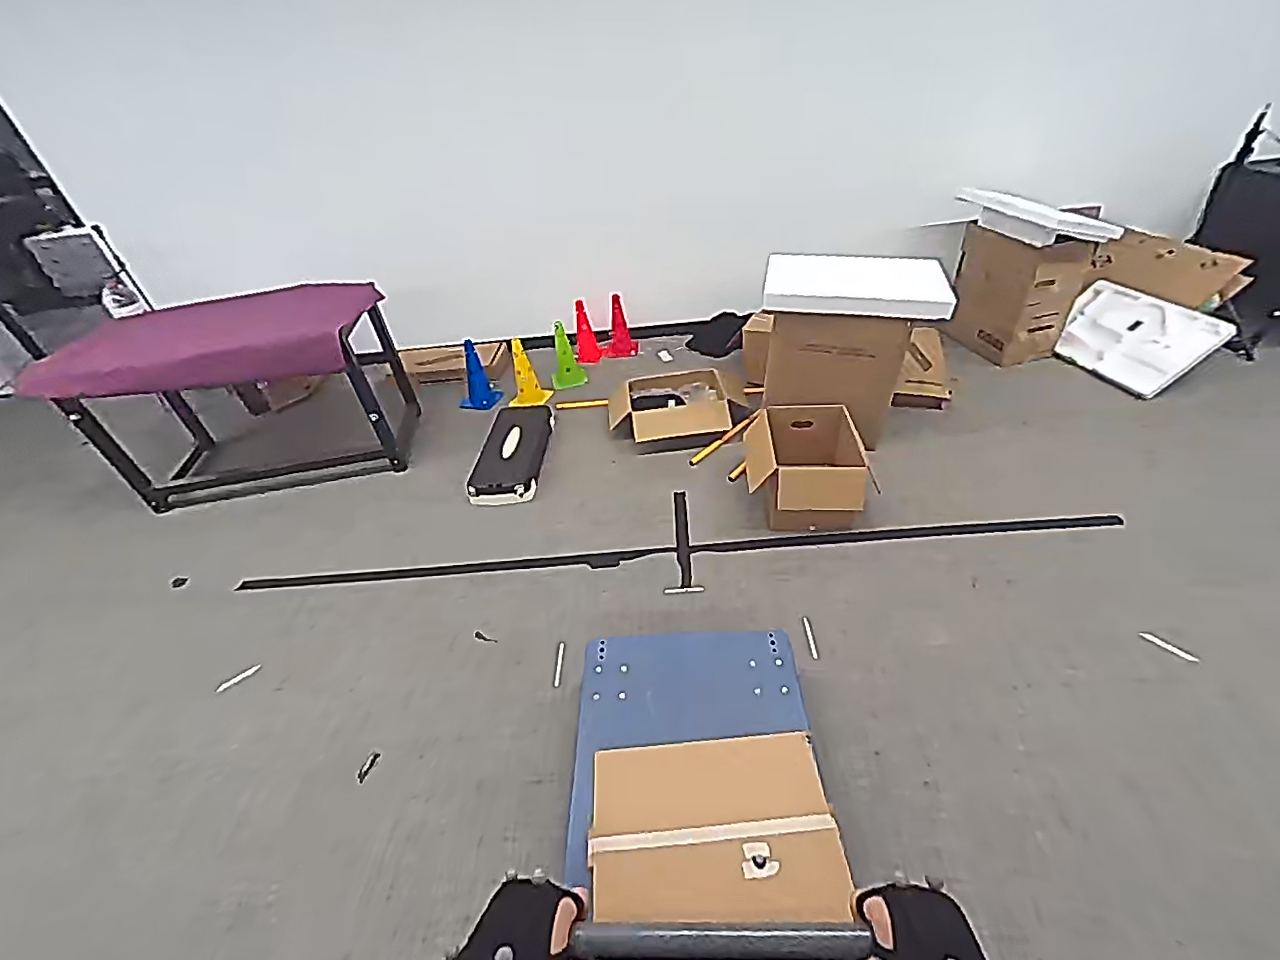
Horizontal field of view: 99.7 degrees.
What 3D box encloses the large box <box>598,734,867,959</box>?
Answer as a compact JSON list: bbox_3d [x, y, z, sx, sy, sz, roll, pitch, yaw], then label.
[{"bbox_3d":[0.138,0.714,0.997,0.408,0.320,0.320,-5,39,-1],"label":"large box"}]
